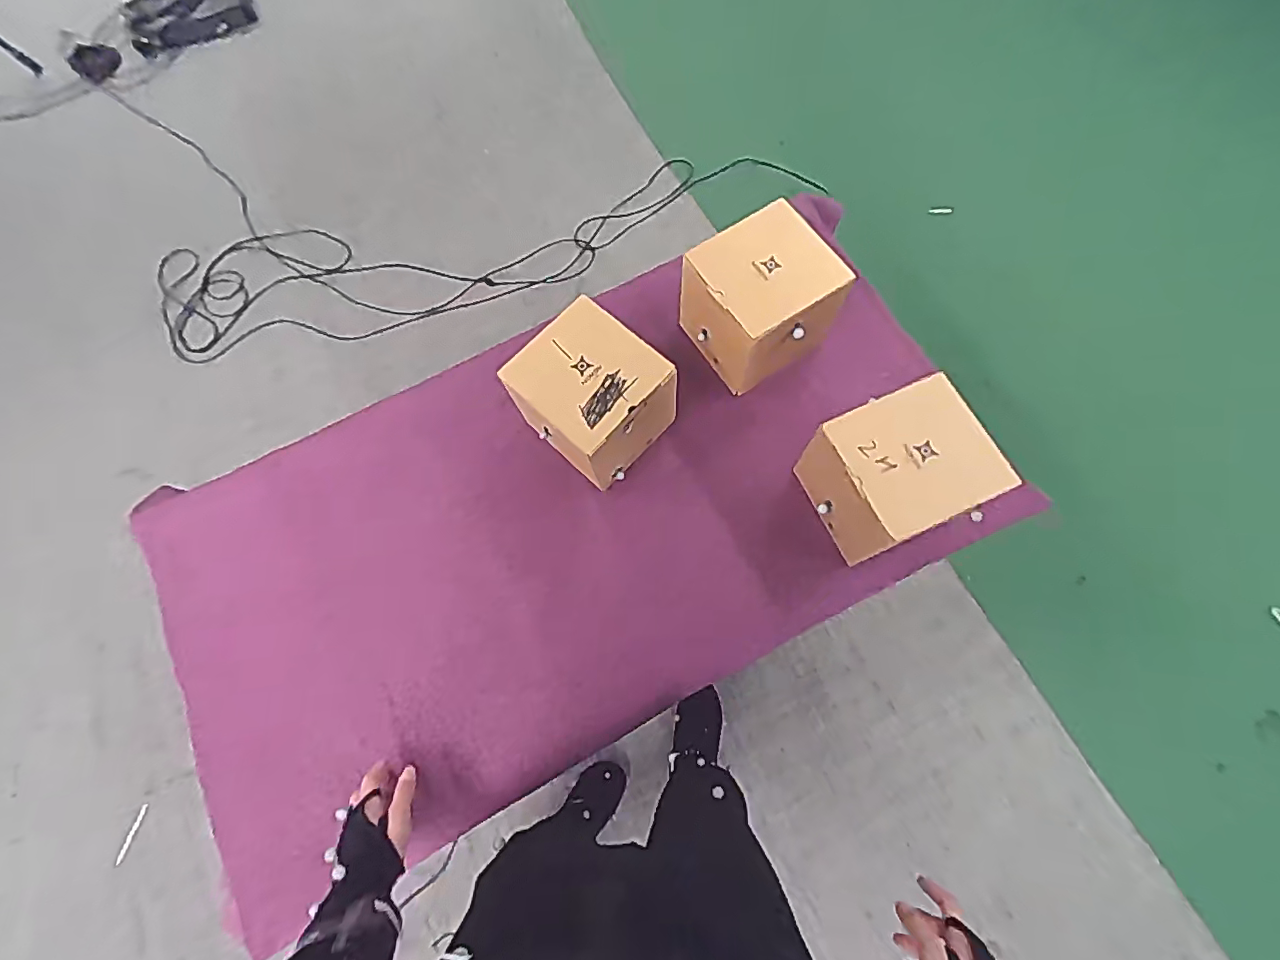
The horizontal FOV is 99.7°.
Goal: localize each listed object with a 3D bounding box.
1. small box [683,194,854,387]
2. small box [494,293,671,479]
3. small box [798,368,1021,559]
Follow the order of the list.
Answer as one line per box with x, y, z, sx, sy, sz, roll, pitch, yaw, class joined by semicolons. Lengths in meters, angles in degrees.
0.175;-0.272;0.807;0.179;0.176;0.168;-33;75;-6;small box
-0.070;-0.120;0.774;0.179;0.176;0.168;41;79;14;small box
0.336;-0.012;0.715;0.179;0.176;0.168;-24;72;-3;small box
